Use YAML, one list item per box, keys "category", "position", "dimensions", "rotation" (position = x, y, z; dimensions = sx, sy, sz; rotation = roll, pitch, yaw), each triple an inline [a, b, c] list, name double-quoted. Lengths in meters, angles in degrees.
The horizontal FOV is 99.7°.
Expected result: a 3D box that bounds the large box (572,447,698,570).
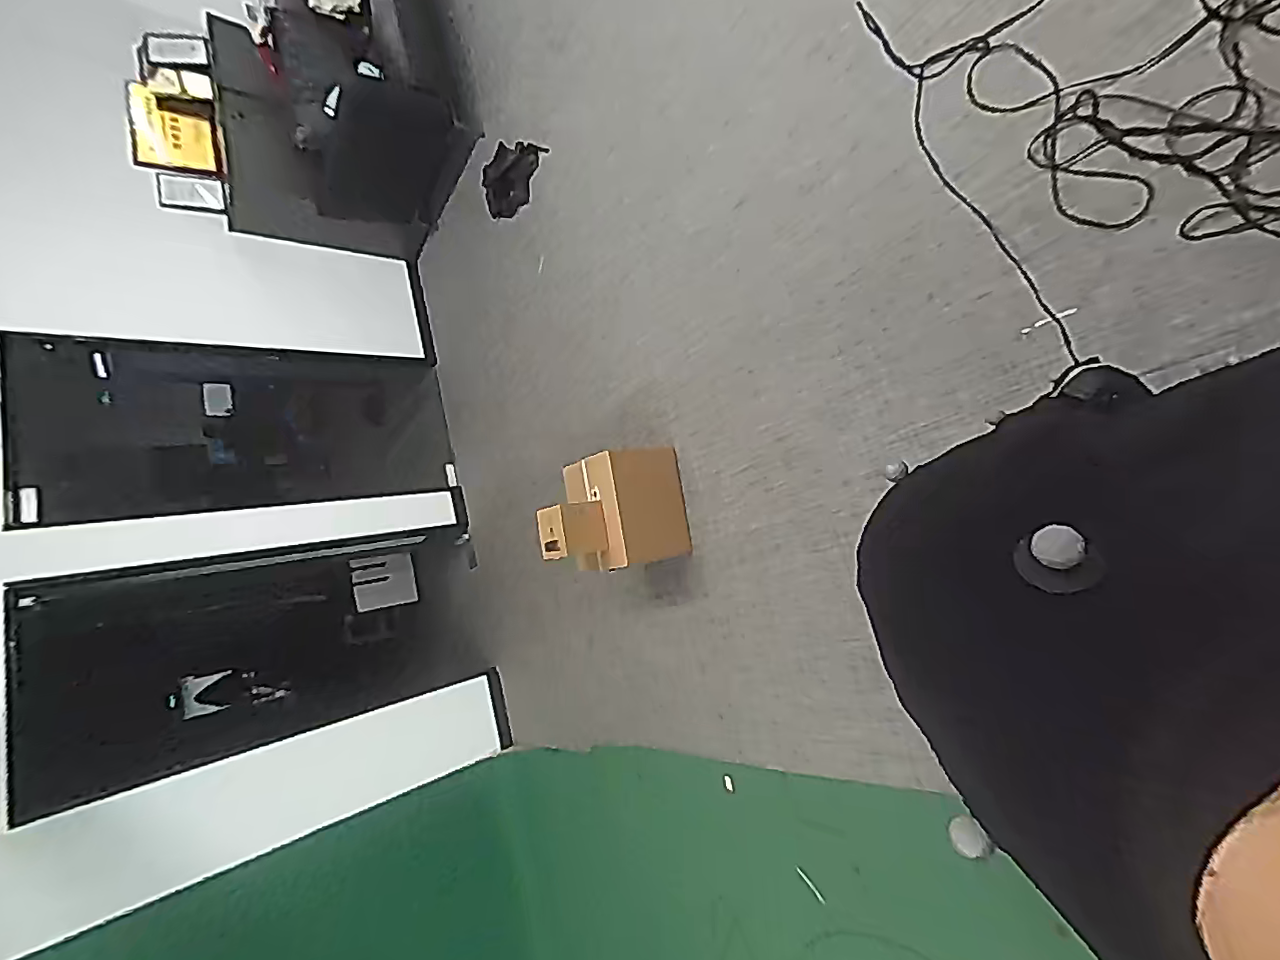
- category: "large box"
  position: [-0.021, 0.107, 2.026]
  dimensions: [0.320, 0.320, 0.408]
  rotation: [-17, 79, 50]
